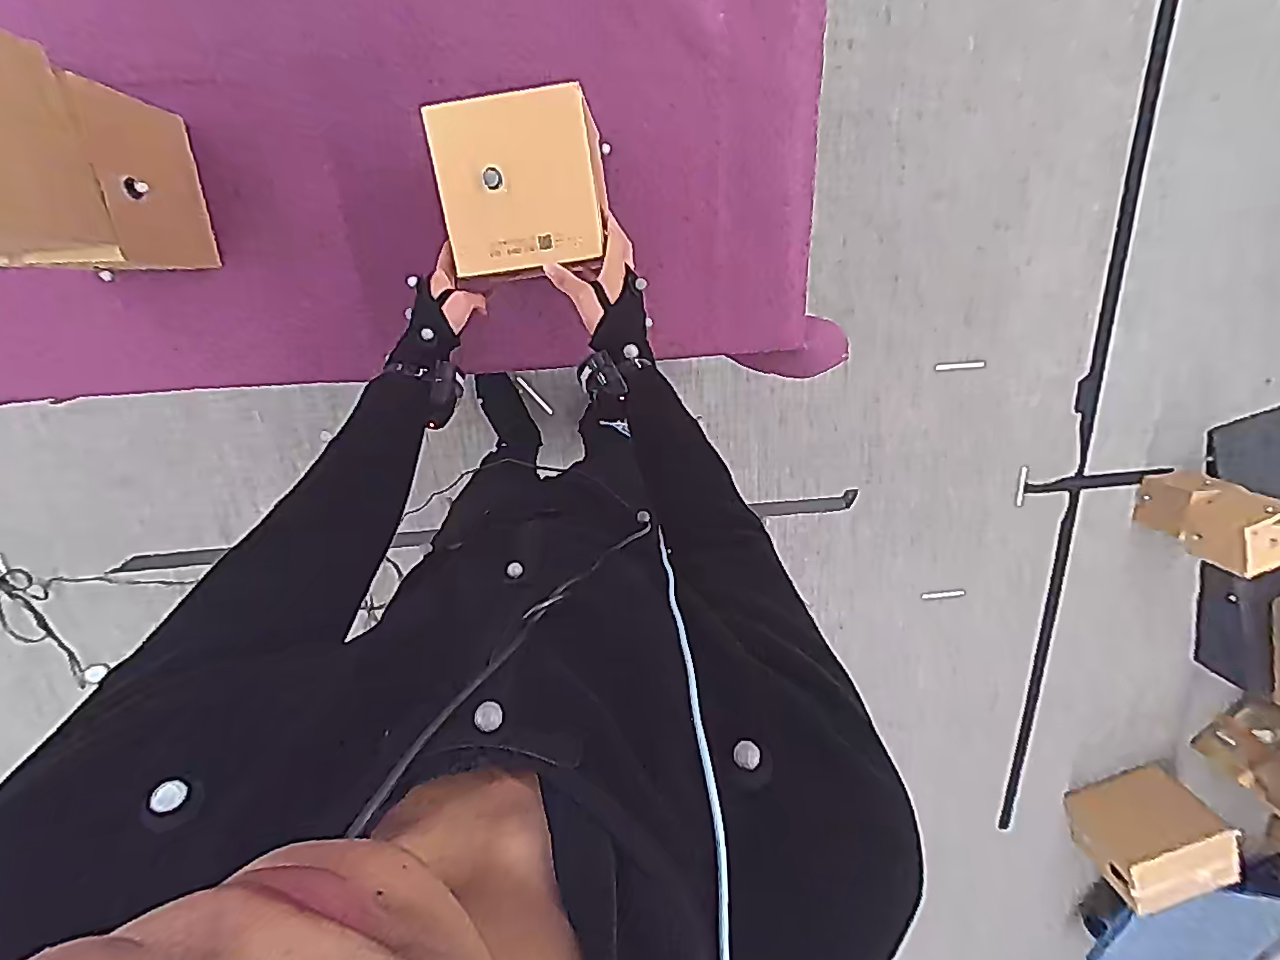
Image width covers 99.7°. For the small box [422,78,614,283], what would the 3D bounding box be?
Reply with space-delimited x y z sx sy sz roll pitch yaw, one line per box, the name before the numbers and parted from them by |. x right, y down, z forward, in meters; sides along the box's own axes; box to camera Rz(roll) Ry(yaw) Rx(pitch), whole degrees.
small box | -0.128 -0.337 0.646 0.168 0.179 0.176 -7 108 4

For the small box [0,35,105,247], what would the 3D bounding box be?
small box | -0.624 -0.293 0.454 0.168 0.176 0.179 -7 109 -4

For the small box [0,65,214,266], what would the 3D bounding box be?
small box | -0.634 -0.338 0.612 0.168 0.176 0.179 -3 110 -5
